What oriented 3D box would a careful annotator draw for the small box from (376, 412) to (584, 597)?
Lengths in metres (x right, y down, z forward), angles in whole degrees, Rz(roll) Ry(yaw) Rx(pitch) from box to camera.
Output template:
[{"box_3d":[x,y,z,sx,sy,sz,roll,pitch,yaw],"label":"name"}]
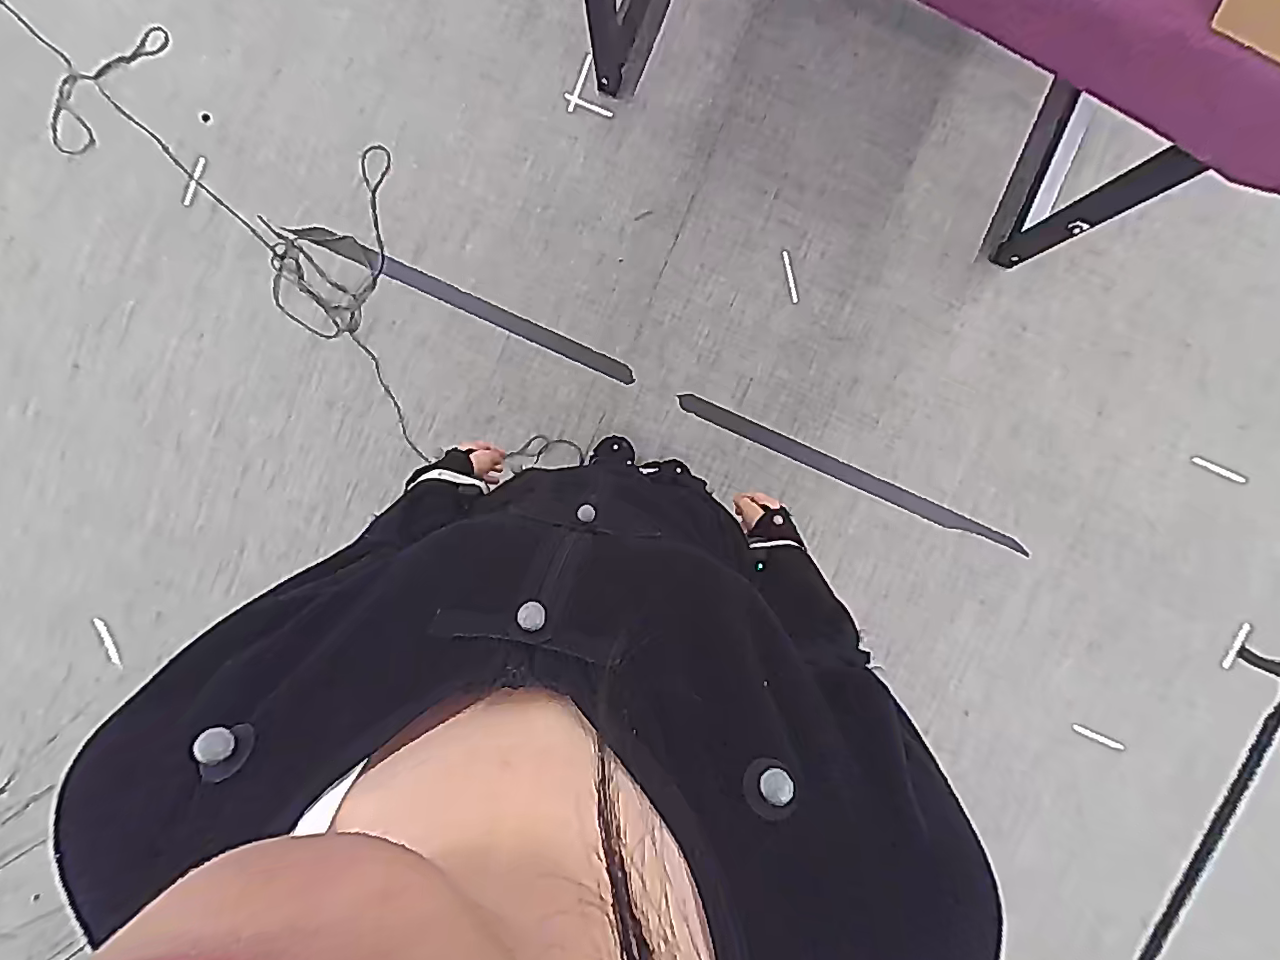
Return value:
[{"box_3d":[-0.213,0.020,0.732,0.179,0.168,0.176,-35,92,22],"label":"small box"}]
